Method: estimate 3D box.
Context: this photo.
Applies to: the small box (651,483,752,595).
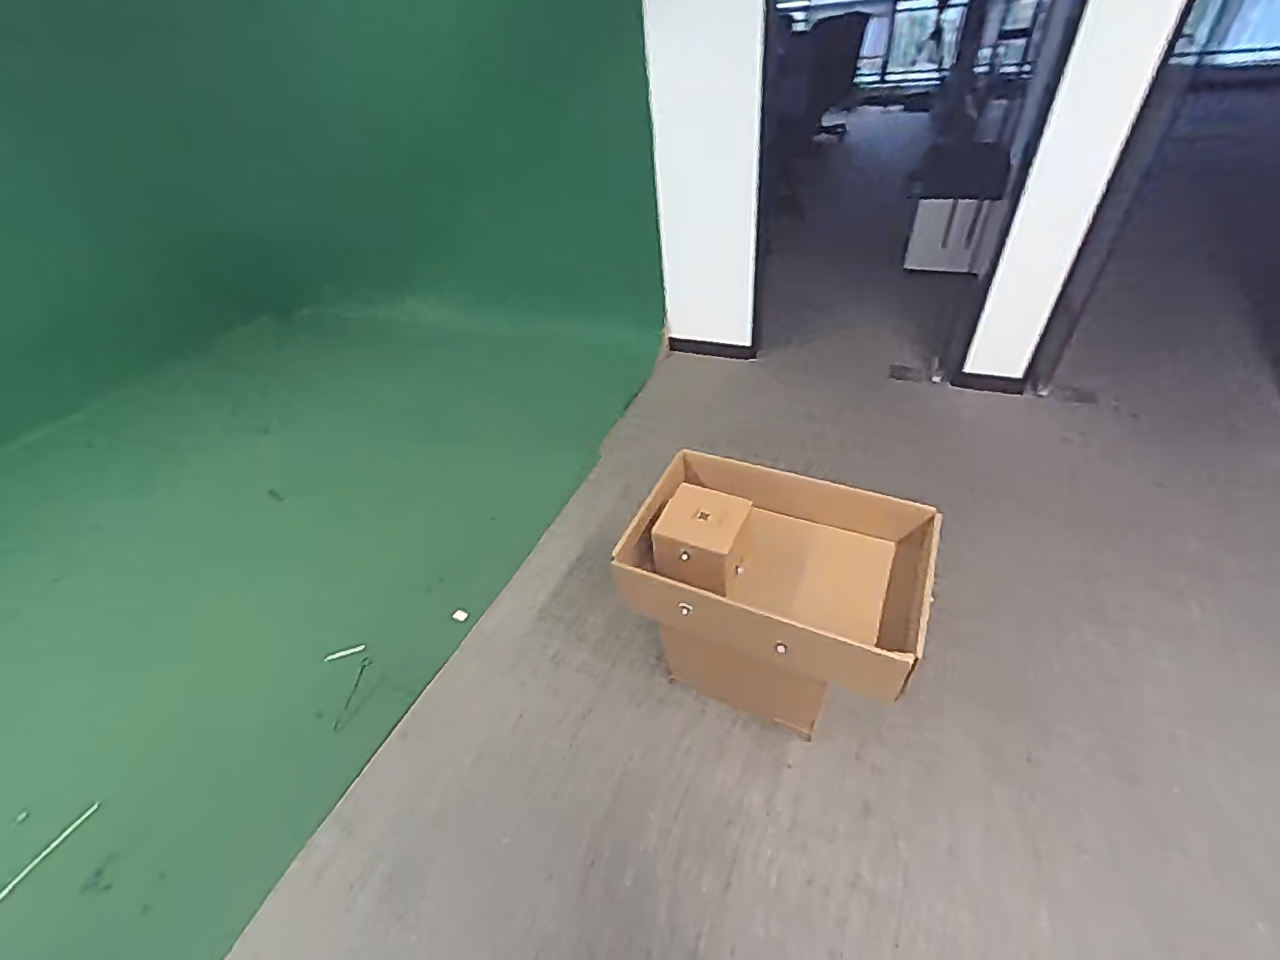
[{"bbox_3d":[0.145,0.136,1.232,0.179,0.176,0.168,15,48,25],"label":"small box"}]
